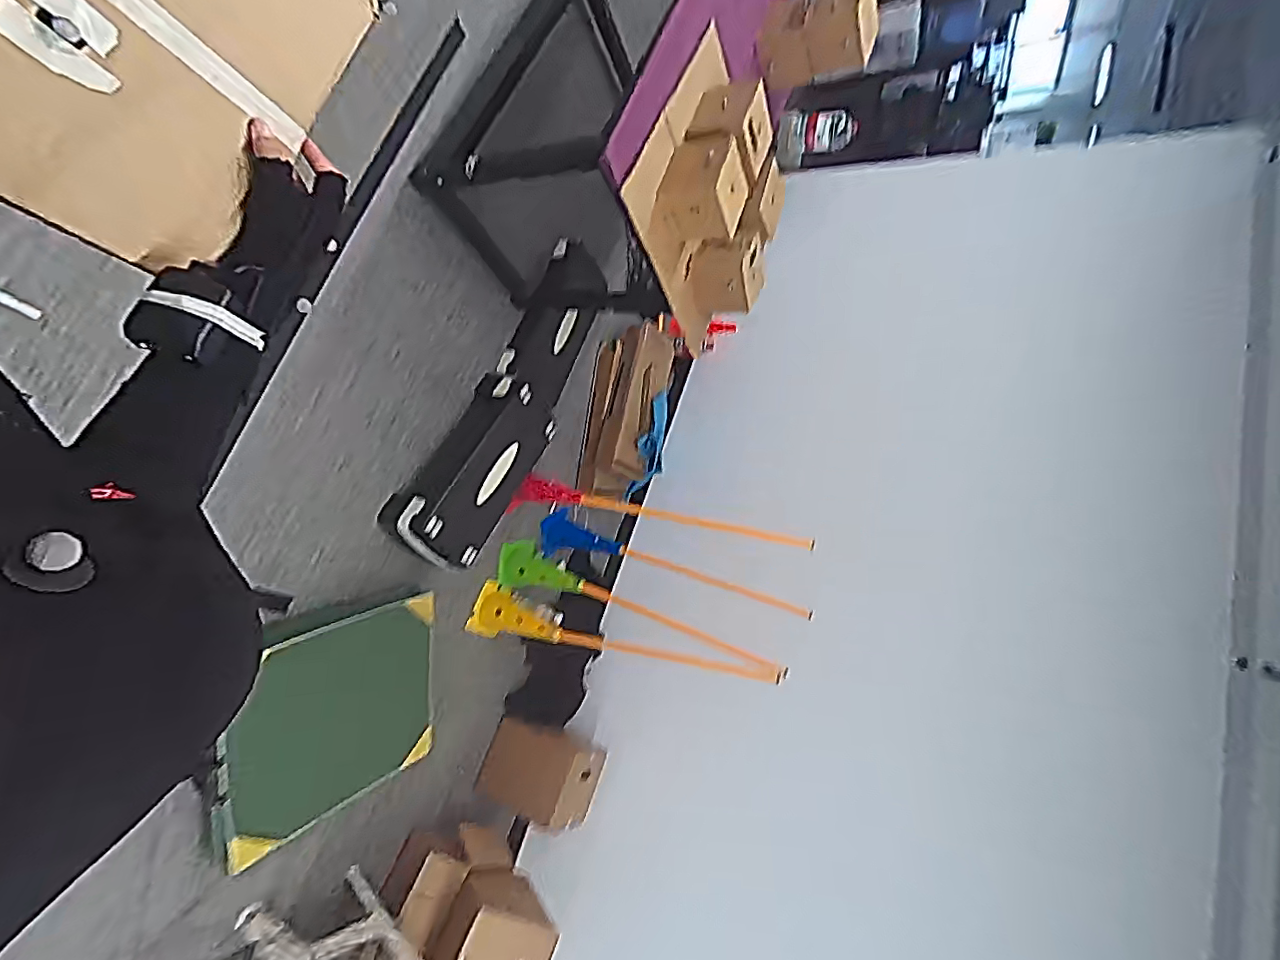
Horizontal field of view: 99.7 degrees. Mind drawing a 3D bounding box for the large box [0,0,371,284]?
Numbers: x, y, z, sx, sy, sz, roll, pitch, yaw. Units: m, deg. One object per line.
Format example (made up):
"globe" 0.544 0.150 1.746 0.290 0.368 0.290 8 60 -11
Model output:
"large box" -0.506 -0.406 0.377 0.320 0.320 0.408 -63 151 -3
